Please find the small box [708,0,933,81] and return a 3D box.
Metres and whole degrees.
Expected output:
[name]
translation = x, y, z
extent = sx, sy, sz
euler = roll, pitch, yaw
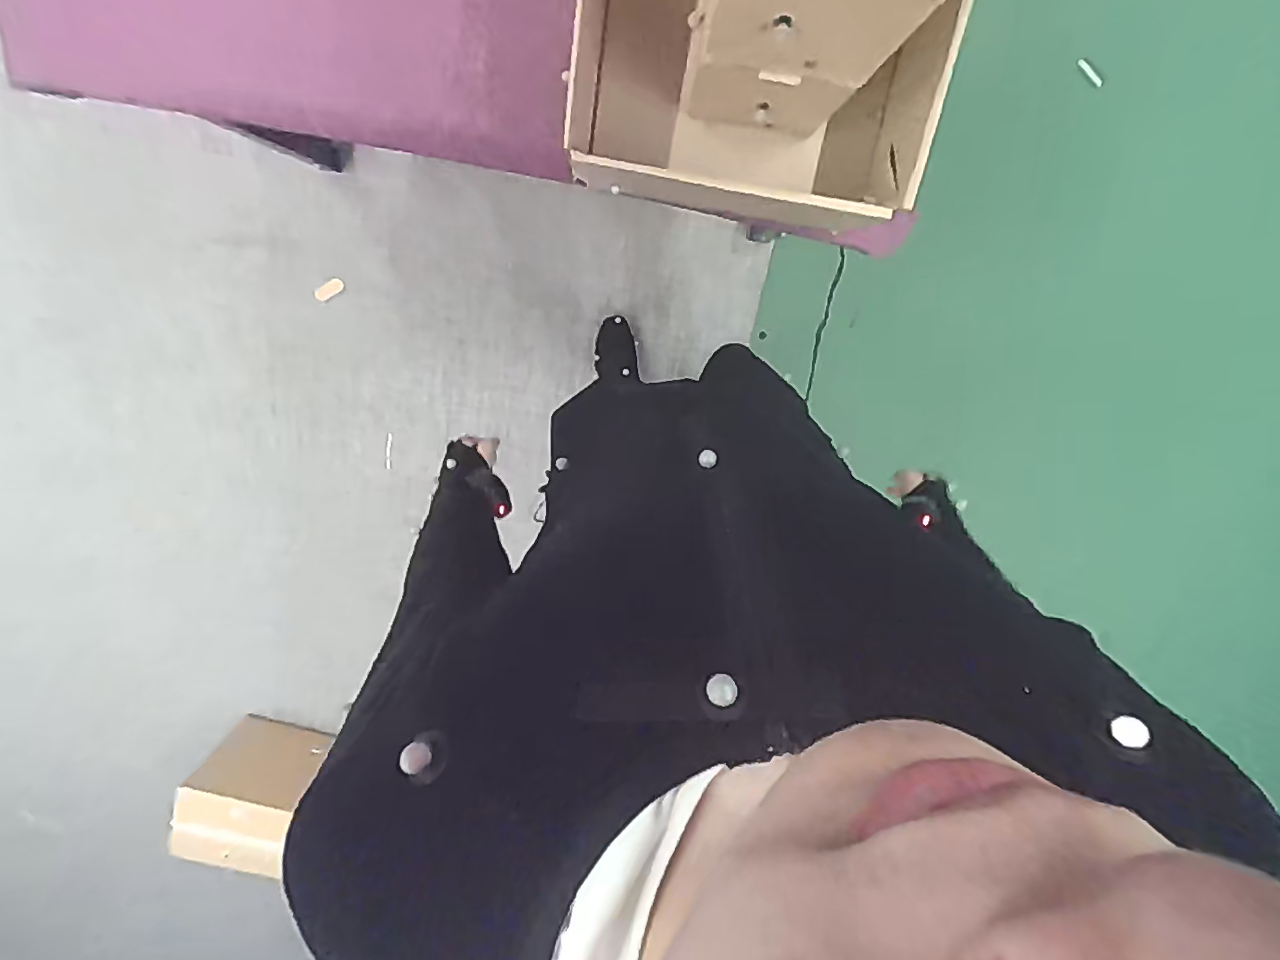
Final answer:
[small box]
translation = 0.154, -0.465, 0.442
extent = 0.168, 0.176, 0.179
euler = 9, 106, -2
